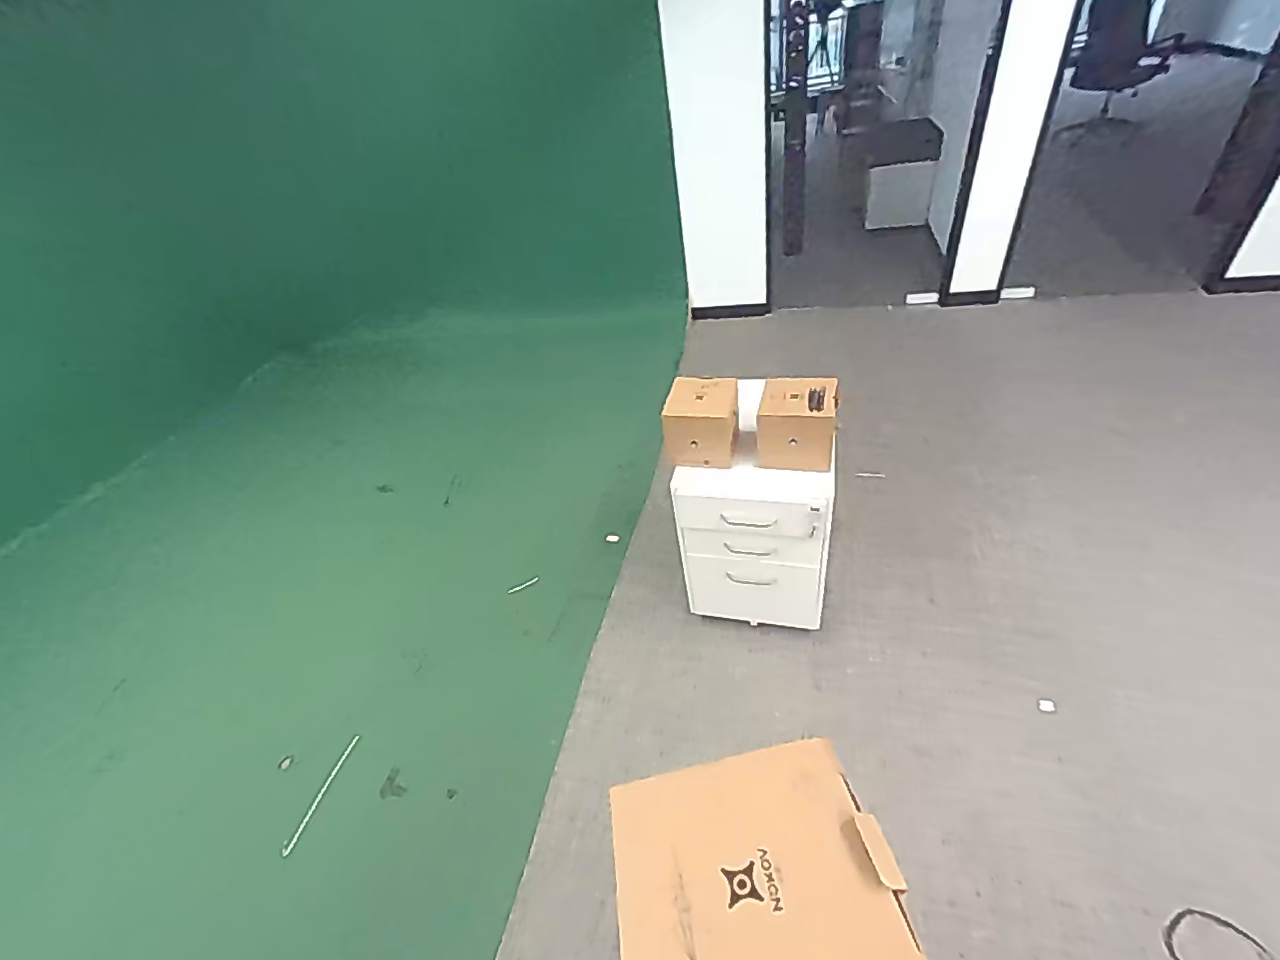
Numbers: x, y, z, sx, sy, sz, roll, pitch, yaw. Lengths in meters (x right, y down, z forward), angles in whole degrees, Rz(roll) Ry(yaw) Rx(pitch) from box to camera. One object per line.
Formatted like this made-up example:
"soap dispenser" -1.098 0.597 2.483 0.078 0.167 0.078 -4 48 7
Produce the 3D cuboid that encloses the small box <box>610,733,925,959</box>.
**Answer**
"small box" 0.086 0.322 0.394 0.179 0.176 0.168 -14 32 1

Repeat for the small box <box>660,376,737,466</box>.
"small box" 0.161 -0.154 1.410 0.168 0.176 0.179 6 44 16
